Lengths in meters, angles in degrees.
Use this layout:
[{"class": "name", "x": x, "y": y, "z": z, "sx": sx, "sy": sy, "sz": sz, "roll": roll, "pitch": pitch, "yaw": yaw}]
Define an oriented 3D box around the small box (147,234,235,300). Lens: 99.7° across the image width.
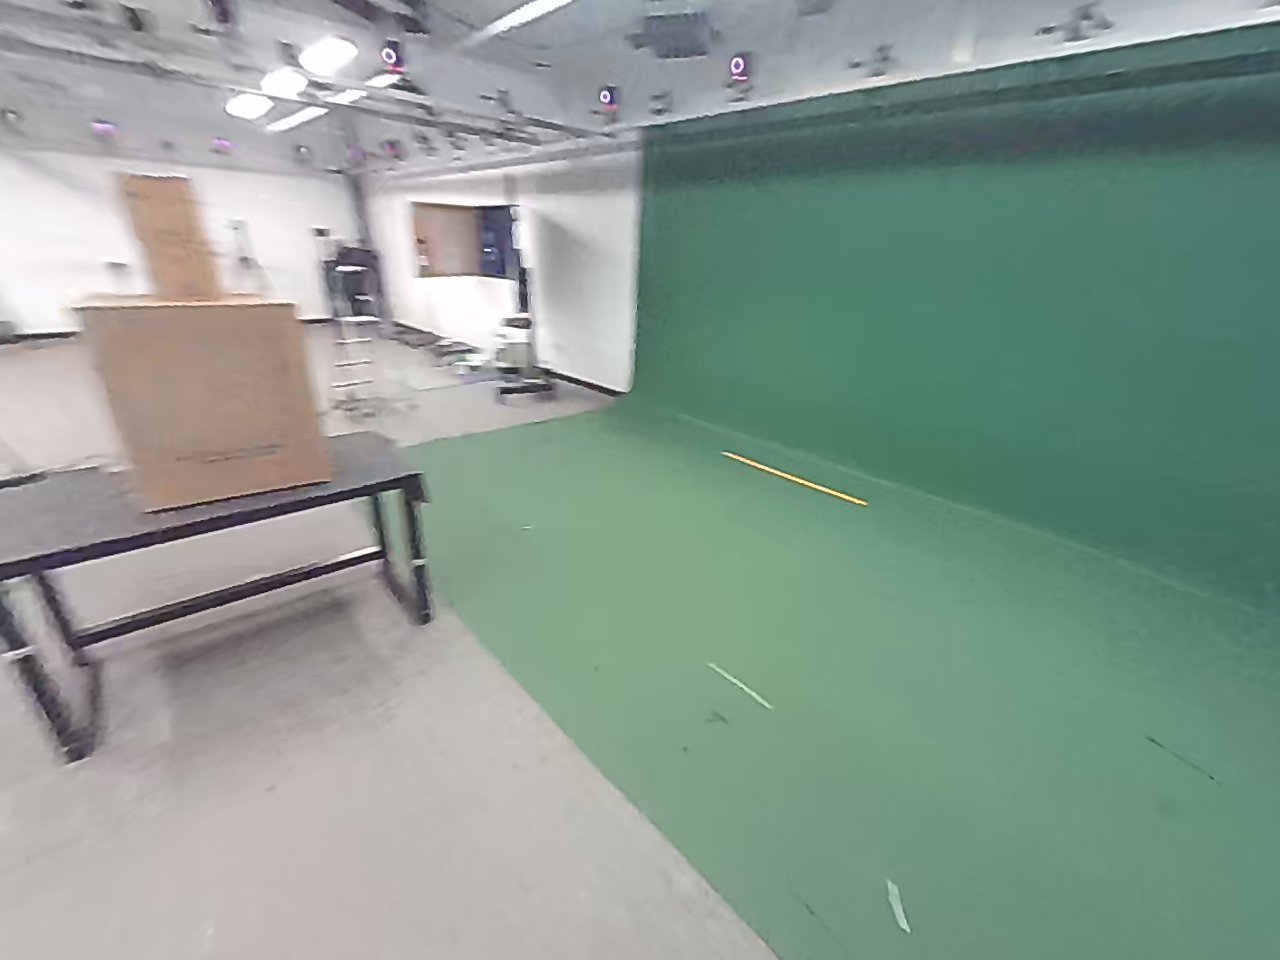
[{"class": "small box", "x": -1.363, "y": -0.652, "z": 1.653, "sx": 0.168, "sy": 0.176, "sz": 0.179, "roll": -10, "pitch": 29, "yaw": -29}]
